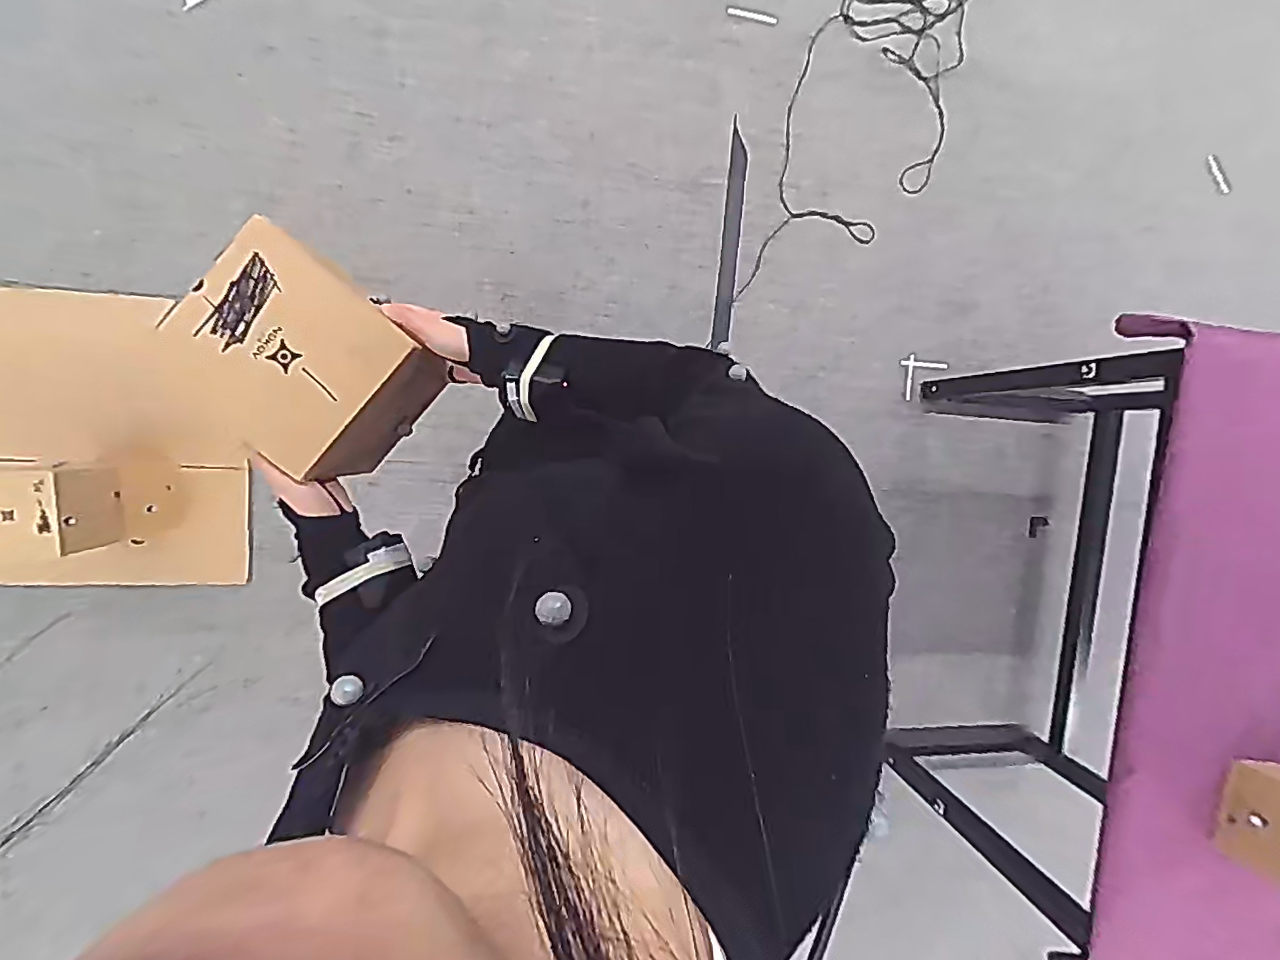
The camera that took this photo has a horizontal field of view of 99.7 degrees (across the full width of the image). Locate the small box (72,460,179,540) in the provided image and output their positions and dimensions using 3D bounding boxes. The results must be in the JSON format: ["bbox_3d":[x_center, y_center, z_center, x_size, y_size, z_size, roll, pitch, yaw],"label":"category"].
[{"bbox_3d":[-1.197,0.040,1.236,0.179,0.176,0.168,0,95,-9],"label":"small box"}]

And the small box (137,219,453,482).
[{"bbox_3d":[-0.326,-0.116,0.555,0.179,0.176,0.168,41,90,-7],"label":"small box"}]

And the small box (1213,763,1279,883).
[{"bbox_3d":[1.179,0.620,0.941,0.179,0.176,0.168,10,92,-10],"label":"small box"}]

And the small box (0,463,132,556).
[{"bbox_3d":[-1.173,0.054,1.073,0.179,0.176,0.168,-1,95,-9],"label":"small box"}]
